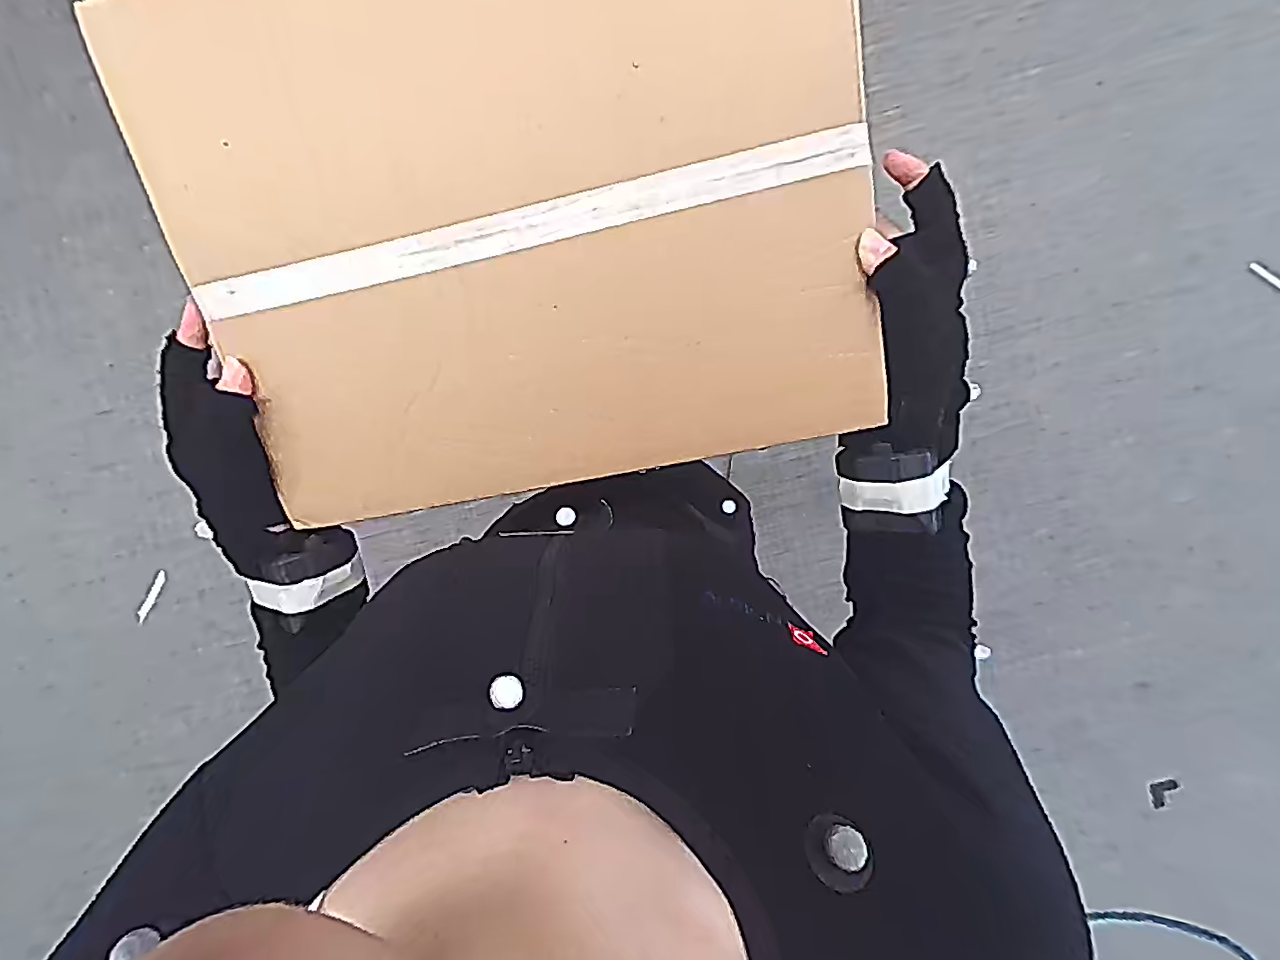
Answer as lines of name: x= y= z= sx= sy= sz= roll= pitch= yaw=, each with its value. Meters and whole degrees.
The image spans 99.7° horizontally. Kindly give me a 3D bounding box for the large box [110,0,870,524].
large box: x=-0.067 y=-0.193 z=0.466 sx=0.408 sy=0.320 sz=0.320 roll=-10 pitch=107 yaw=6
